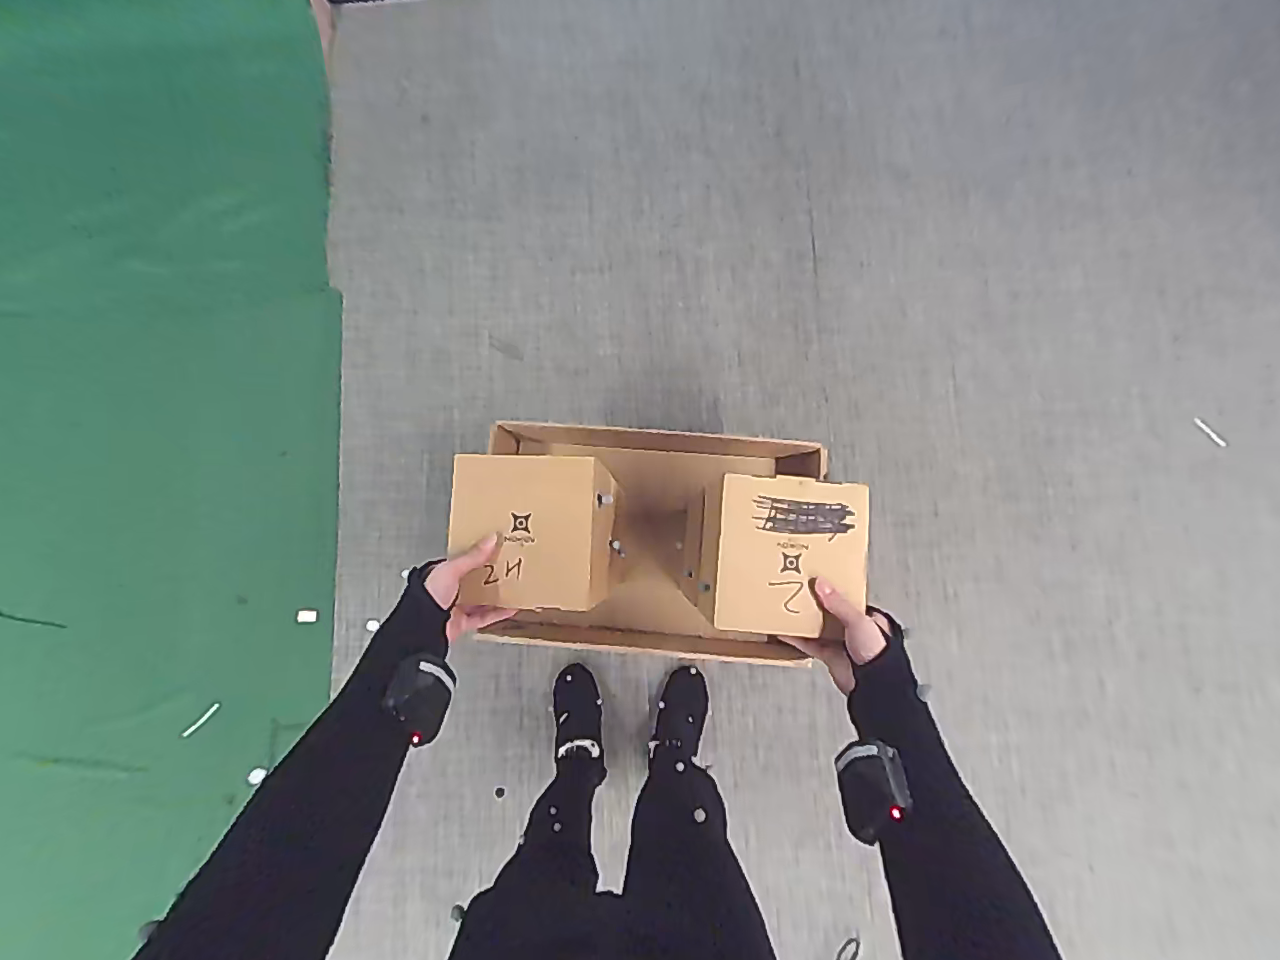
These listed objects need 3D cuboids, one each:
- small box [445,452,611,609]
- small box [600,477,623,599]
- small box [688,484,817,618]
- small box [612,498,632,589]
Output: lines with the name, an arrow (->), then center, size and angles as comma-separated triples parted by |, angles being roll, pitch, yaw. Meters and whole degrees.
small box -> -0.130, 0.066, 0.696 | 0.168, 0.176, 0.179 | 1, 83, 5
small box -> -0.121, 0.087, 0.859 | 0.168, 0.176, 0.179 | 5, 83, 5
small box -> 0.165, 0.110, 0.839 | 0.168, 0.176, 0.179 | 5, 81, 2
small box -> -0.116, 0.113, 1.020 | 0.179, 0.176, 0.168 | 7, 82, 3
